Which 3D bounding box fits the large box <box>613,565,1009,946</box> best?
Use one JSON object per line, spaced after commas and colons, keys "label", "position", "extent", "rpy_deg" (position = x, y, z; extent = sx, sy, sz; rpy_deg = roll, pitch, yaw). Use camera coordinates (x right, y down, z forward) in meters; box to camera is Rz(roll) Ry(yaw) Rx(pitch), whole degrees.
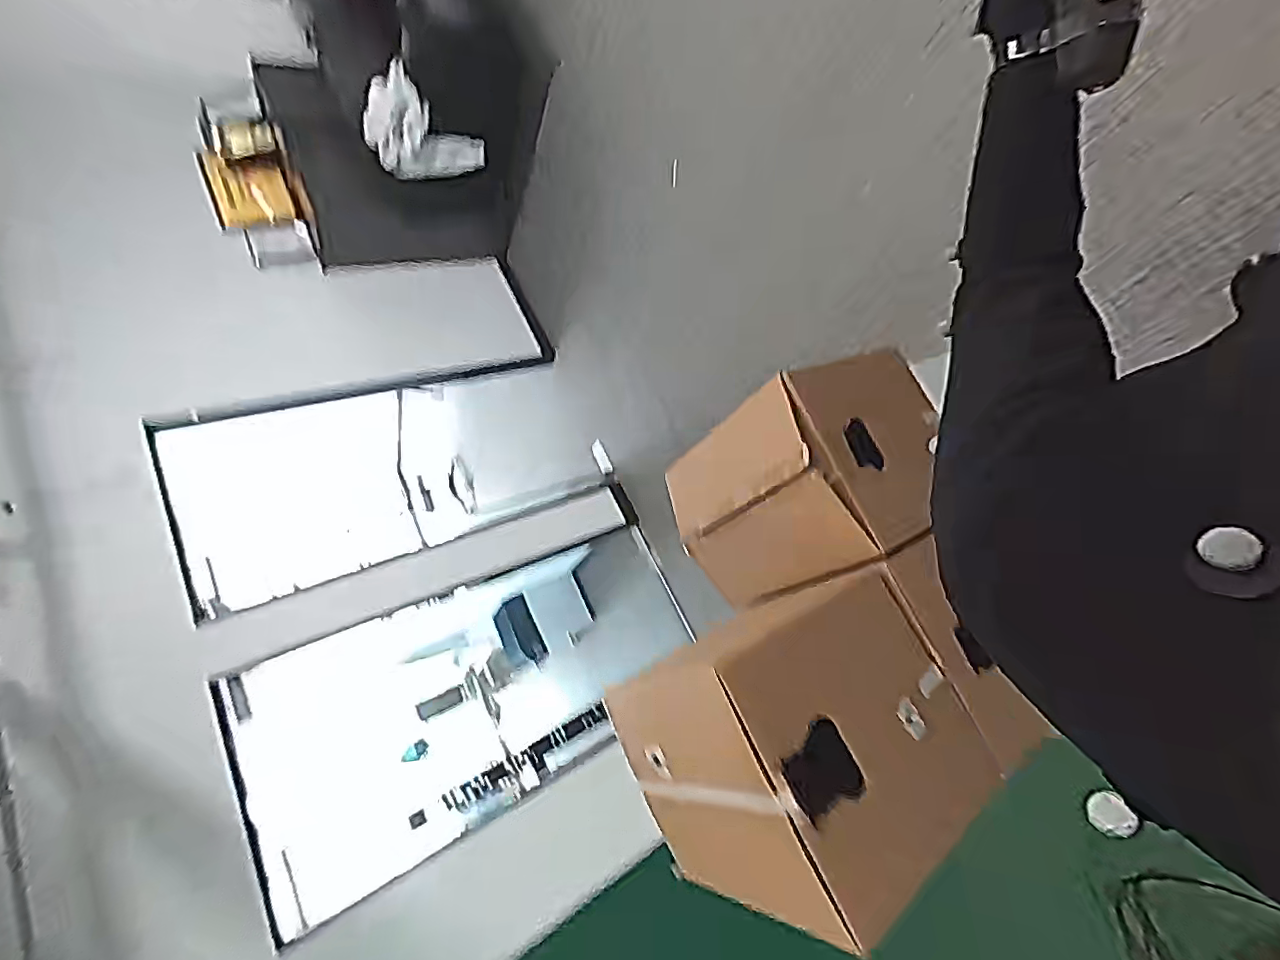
{"label": "large box", "position": [0.214, 0.371, 0.804], "extent": [0.320, 0.320, 0.408], "rpy_deg": [62, 149, 14]}
